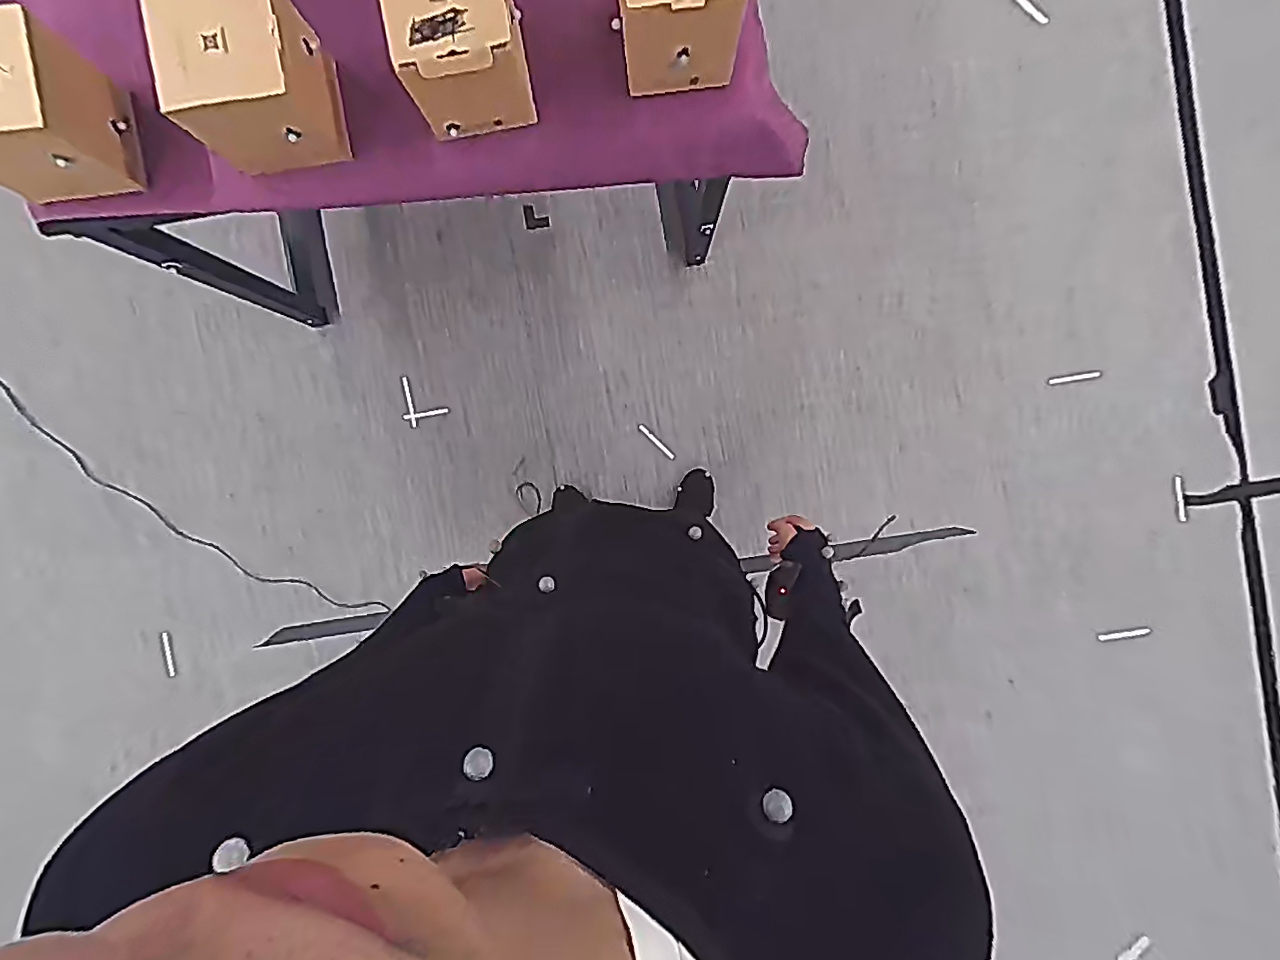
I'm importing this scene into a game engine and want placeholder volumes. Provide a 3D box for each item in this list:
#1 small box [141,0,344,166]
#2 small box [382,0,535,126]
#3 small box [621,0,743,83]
[{"bbox_3d":[-0.564,-0.595,0.794,0.179,0.176,0.168,-9,92,0],"label":"small box"},{"bbox_3d":[-0.261,-0.654,0.792,0.168,0.176,0.179,-10,91,0],"label":"small box"},{"bbox_3d":[0.055,-0.719,0.788,0.168,0.176,0.179,-6,91,1],"label":"small box"}]
